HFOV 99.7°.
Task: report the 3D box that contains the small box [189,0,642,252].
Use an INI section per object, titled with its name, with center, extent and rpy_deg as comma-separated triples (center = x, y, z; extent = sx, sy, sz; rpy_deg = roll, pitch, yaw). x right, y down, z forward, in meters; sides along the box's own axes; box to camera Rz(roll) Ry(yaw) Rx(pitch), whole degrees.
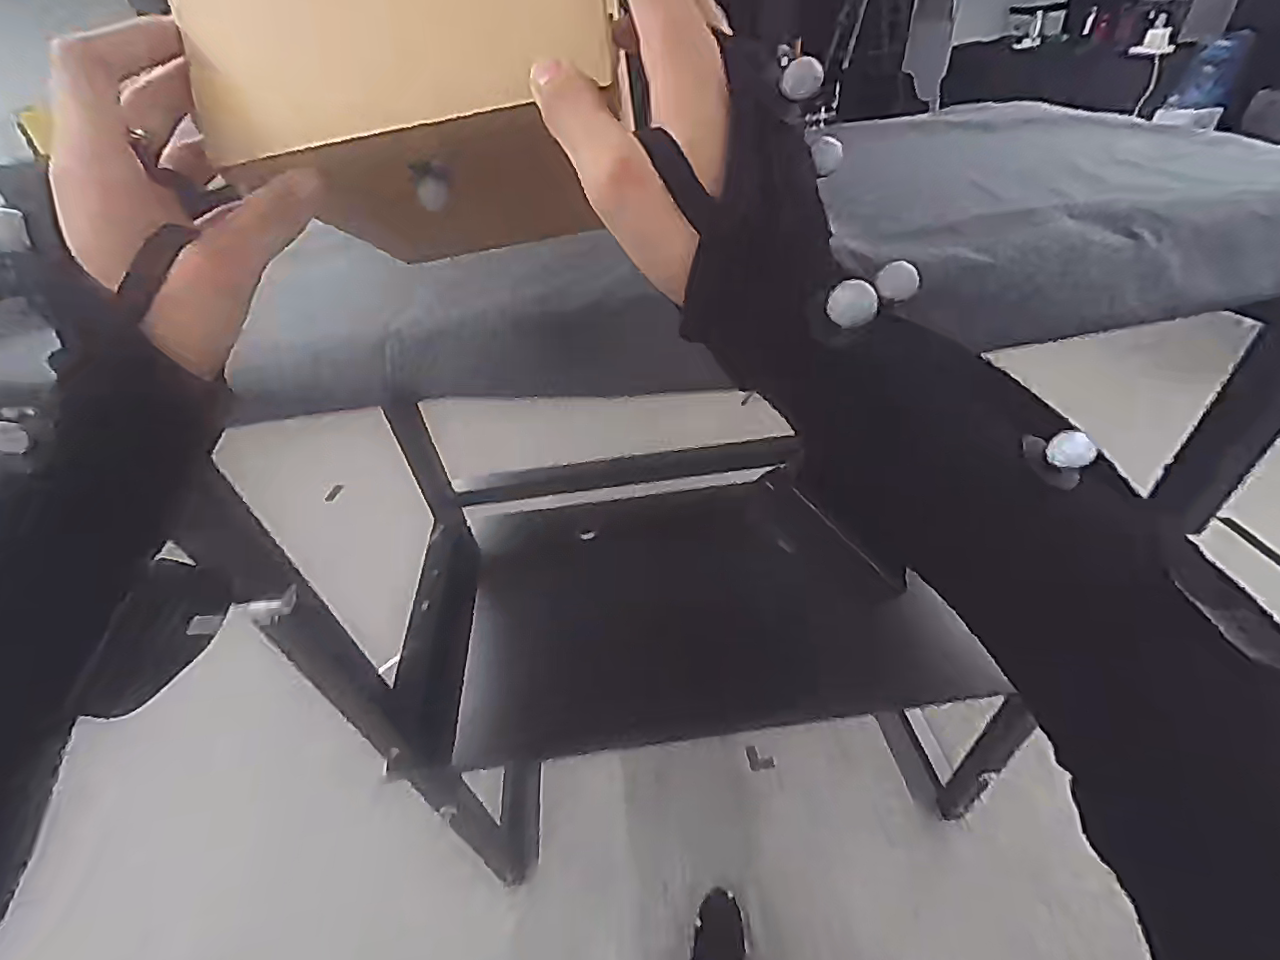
[small box]
center = -0.095, -0.237, 0.289
extent = 0.179, 0.168, 0.176
rpy_deg = -7, 8, 7
